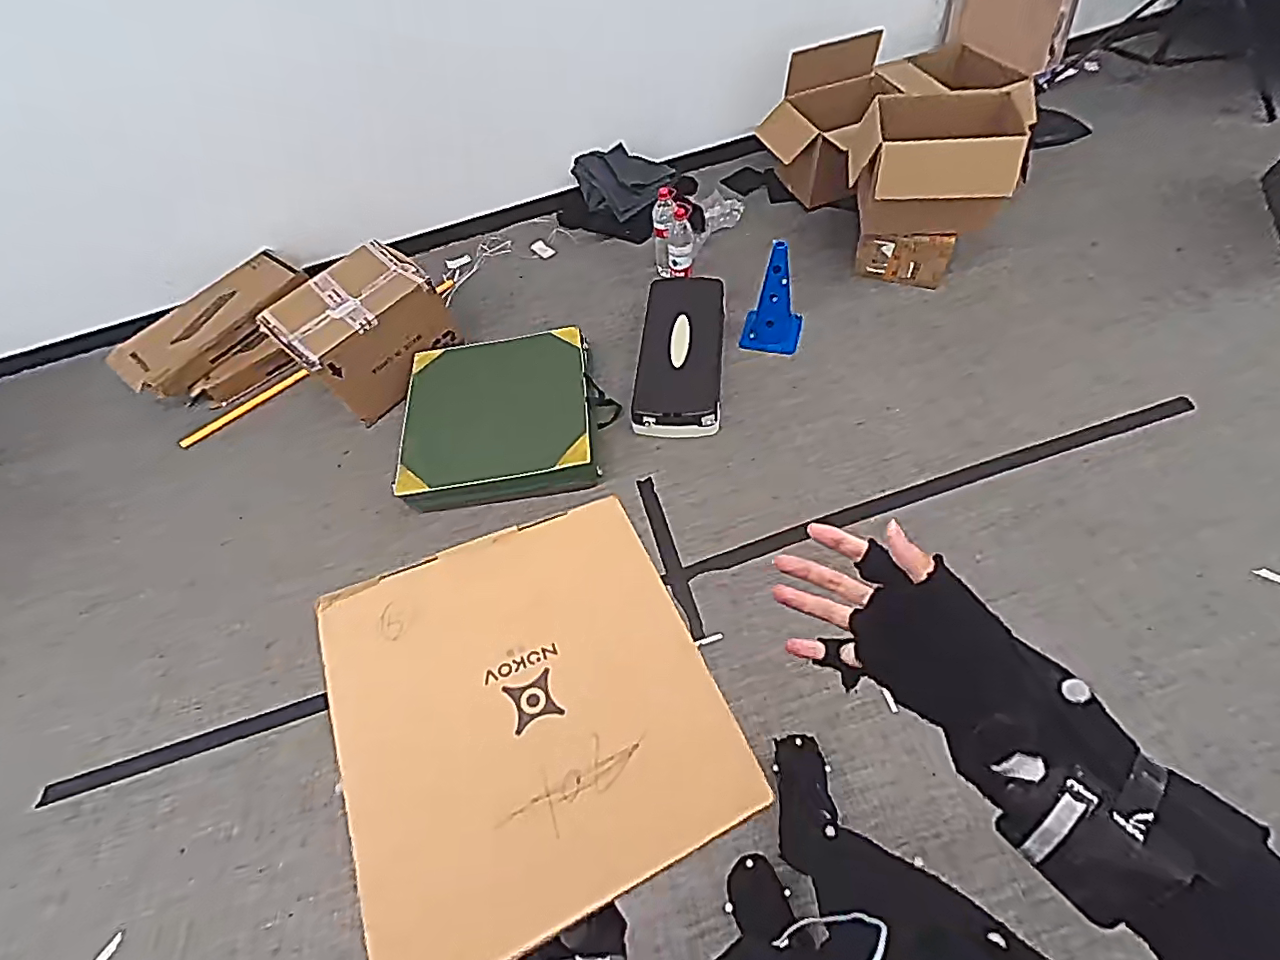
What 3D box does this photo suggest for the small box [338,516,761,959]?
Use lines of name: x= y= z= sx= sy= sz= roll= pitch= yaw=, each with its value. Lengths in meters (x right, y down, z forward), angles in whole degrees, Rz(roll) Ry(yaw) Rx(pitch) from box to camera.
small box: x=-0.058 y=0.156 z=0.330 sx=0.168 sy=0.176 sz=0.179 roll=-19 pitch=58 yaw=-18
